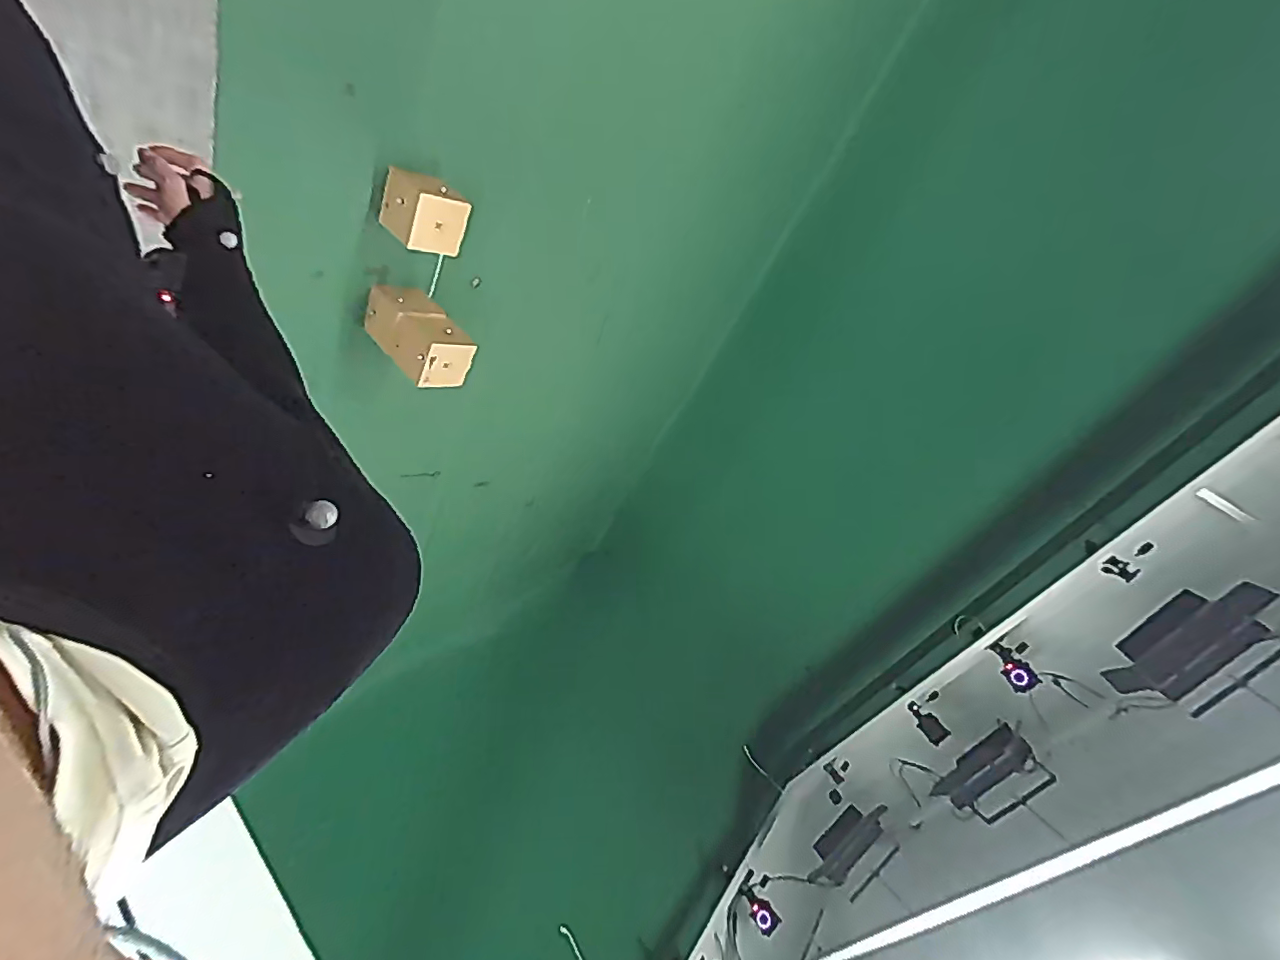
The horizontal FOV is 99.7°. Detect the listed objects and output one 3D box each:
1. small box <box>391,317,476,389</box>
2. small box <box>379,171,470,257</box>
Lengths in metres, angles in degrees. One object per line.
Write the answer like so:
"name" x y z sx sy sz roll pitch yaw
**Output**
"small box" -0.681 -0.419 1.780 0.179 0.176 0.168 -17 145 -55
"small box" -0.647 -0.794 1.616 0.179 0.176 0.168 -20 147 -53
